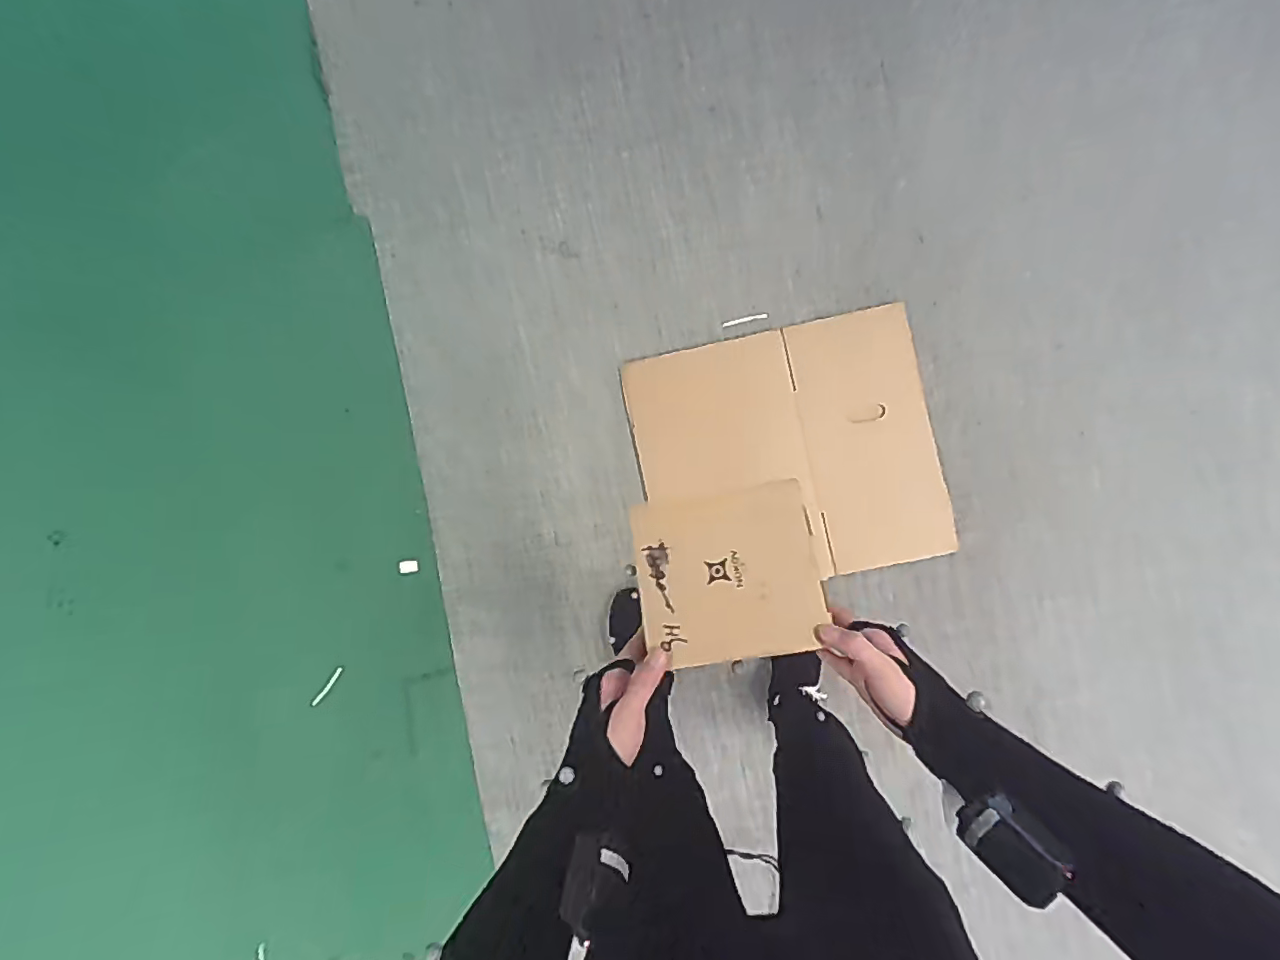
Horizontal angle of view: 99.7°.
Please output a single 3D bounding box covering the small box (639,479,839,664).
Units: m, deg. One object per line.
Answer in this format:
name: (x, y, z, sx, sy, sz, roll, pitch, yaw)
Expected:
small box: (0.098, 0.110, 0.601, 0.179, 0.176, 0.168, -8, 71, 4)
